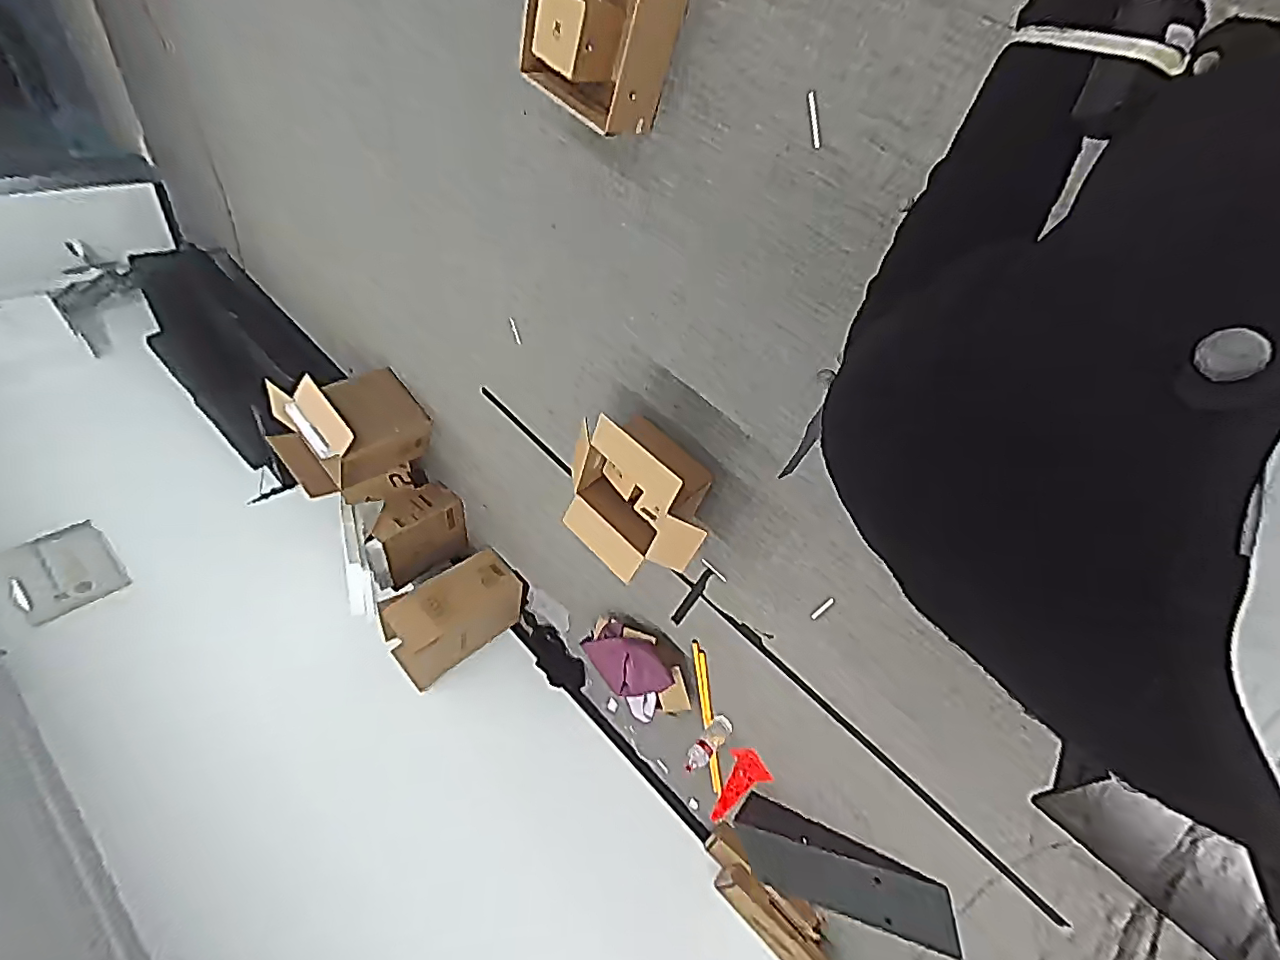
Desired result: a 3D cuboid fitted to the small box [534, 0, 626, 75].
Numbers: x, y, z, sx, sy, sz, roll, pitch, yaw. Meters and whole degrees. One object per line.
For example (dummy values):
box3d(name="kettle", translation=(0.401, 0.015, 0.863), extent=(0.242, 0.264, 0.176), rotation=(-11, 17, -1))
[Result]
box3d(name="small box", translation=(-0.165, -1.257, 1.498), extent=(0.168, 0.176, 0.179), rotation=(43, 138, 13))
